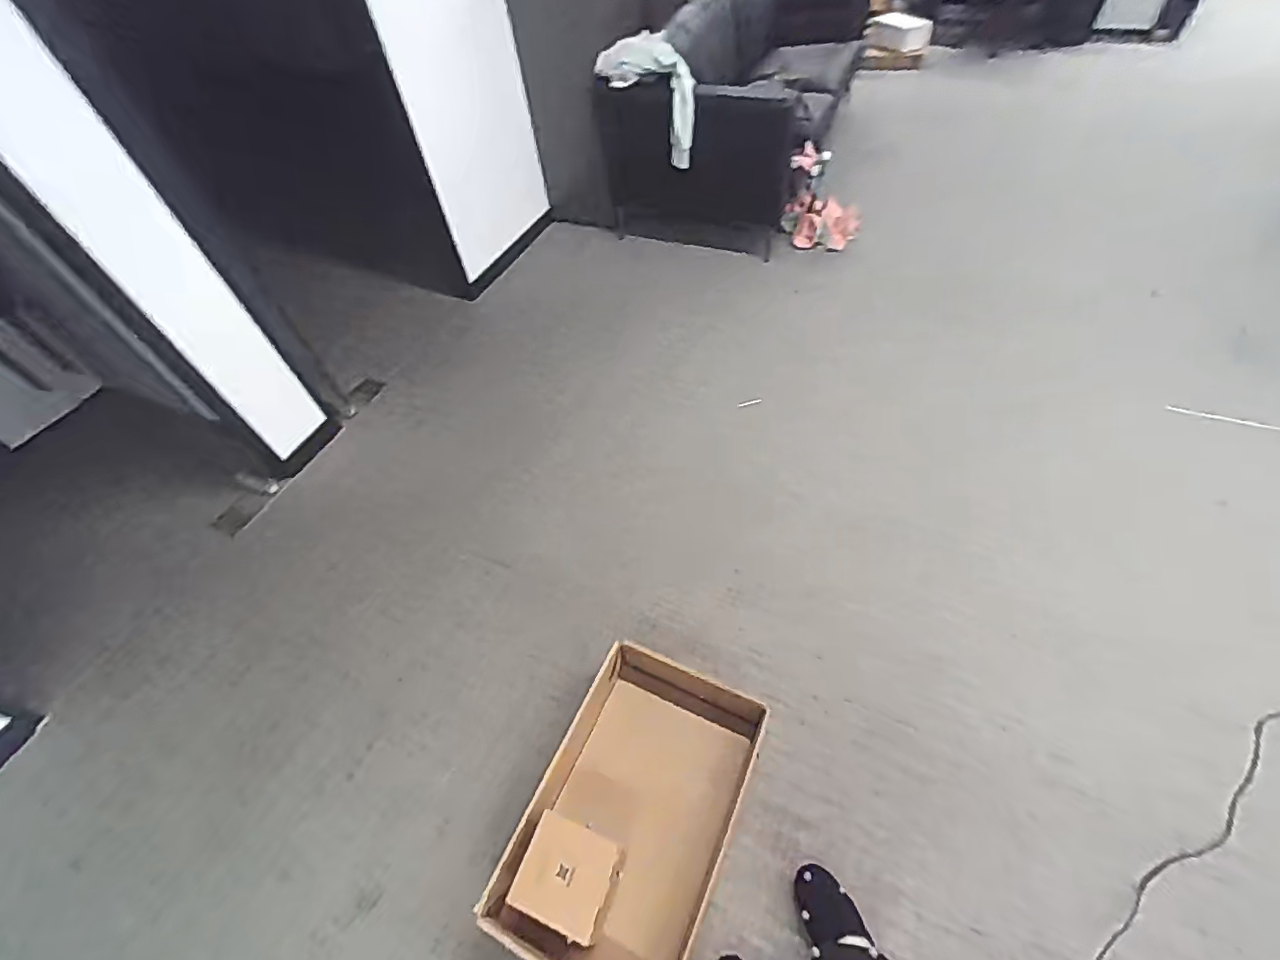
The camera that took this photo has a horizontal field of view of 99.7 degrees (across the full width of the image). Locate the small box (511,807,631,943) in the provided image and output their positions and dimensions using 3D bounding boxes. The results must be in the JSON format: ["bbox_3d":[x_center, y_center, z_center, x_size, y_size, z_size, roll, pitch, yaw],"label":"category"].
[{"bbox_3d":[-0.129,0.800,1.105,0.179,0.176,0.168,16,55,17],"label":"small box"}]
